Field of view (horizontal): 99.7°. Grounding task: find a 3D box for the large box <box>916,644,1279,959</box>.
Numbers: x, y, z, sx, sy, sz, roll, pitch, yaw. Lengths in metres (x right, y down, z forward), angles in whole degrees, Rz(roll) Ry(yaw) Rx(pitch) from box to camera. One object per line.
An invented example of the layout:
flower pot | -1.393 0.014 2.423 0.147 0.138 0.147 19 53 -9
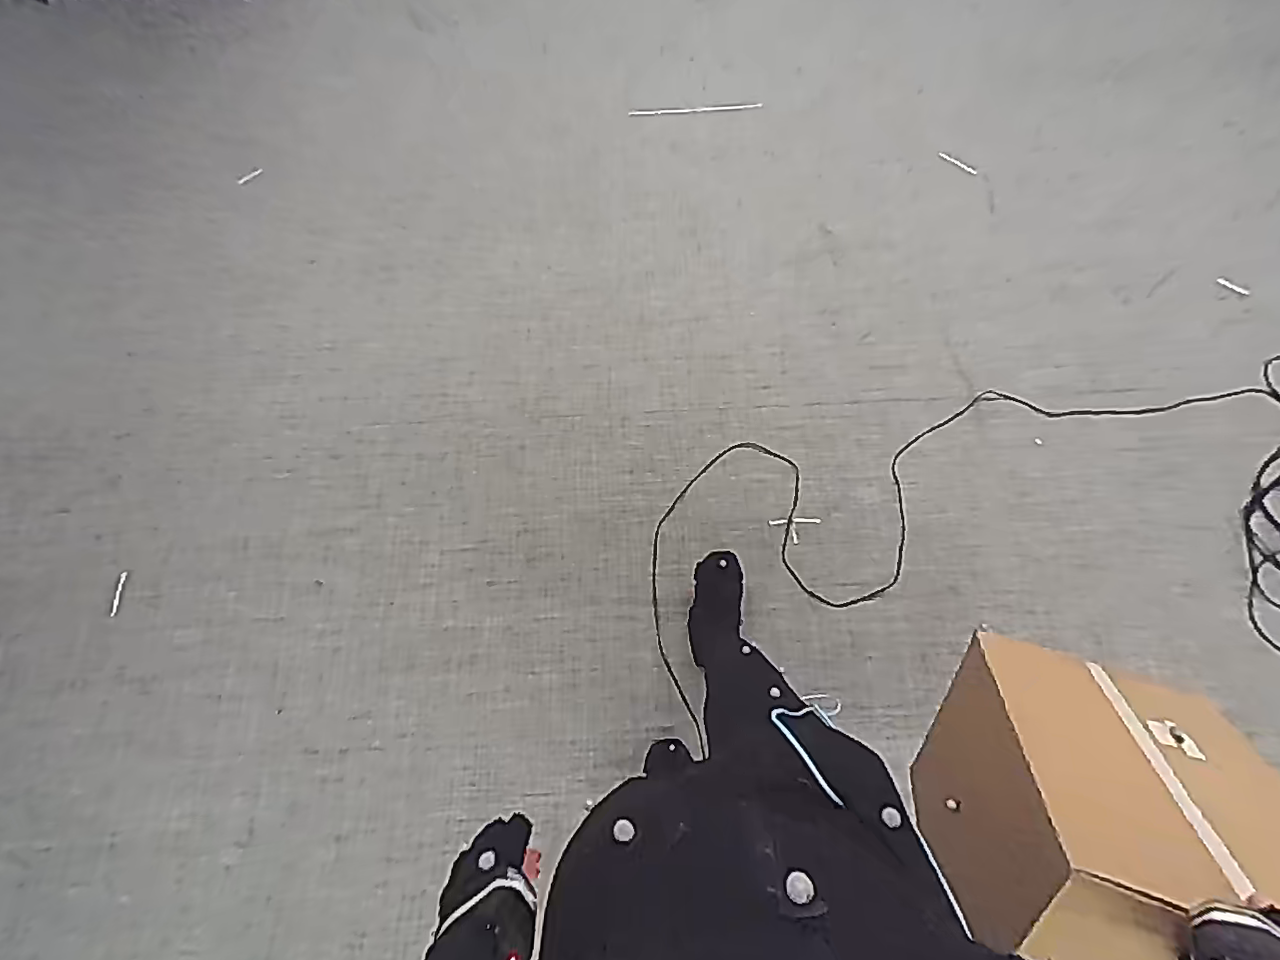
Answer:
large box | 0.588 0.491 0.694 0.320 0.408 0.320 16 111 15
